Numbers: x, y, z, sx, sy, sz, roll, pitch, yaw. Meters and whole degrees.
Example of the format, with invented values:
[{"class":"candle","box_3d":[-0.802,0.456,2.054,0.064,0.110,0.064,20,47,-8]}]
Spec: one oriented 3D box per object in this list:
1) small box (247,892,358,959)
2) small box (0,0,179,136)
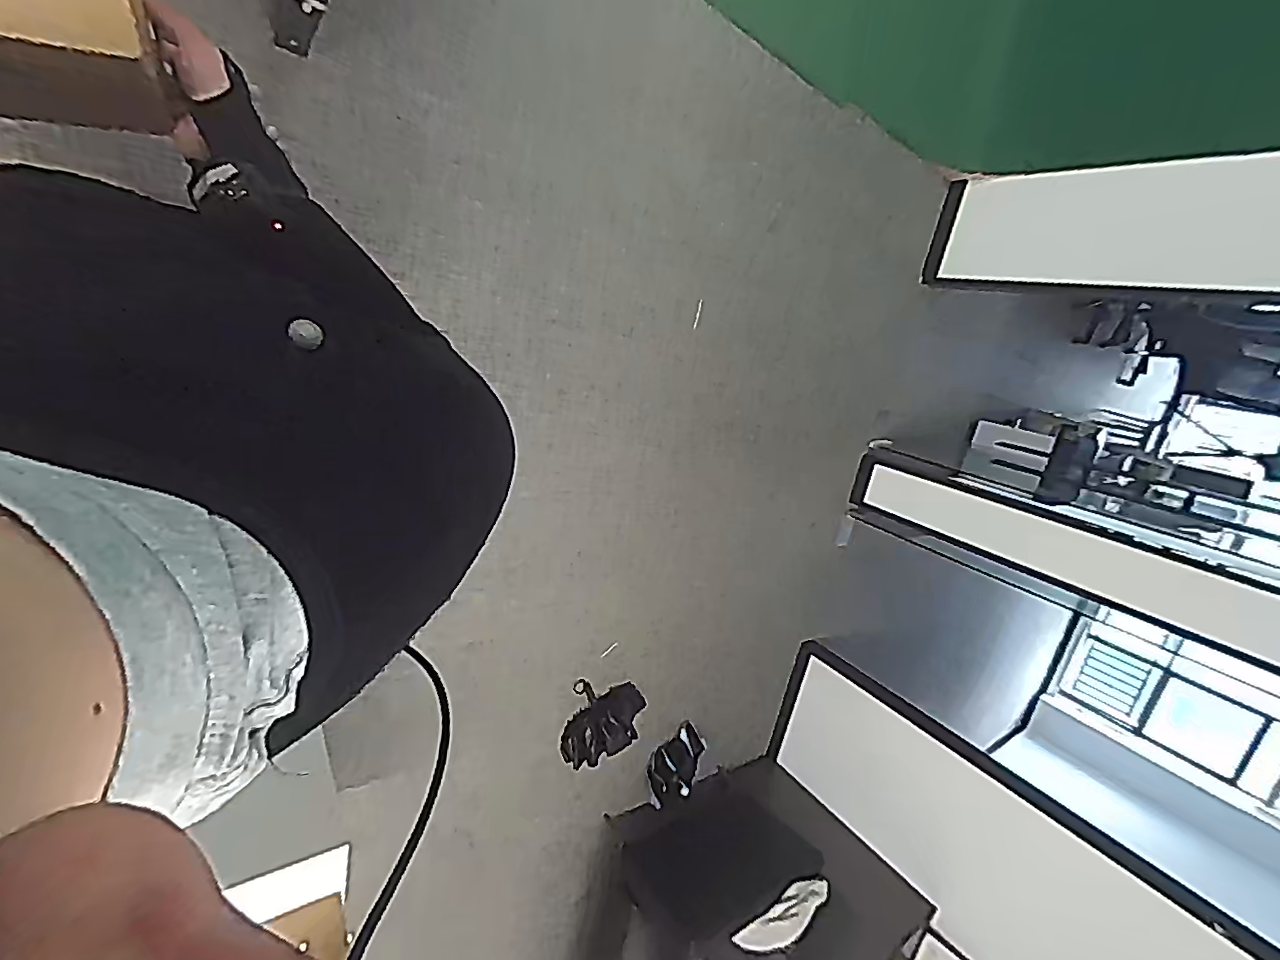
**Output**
[{"class":"small box","box_3d":[-0.681,0.993,1.085,0.179,0.176,0.168,-1,110,-38]},{"class":"small box","box_3d":[-0.442,-0.349,0.354,0.179,0.176,0.168,-13,109,-32]}]
